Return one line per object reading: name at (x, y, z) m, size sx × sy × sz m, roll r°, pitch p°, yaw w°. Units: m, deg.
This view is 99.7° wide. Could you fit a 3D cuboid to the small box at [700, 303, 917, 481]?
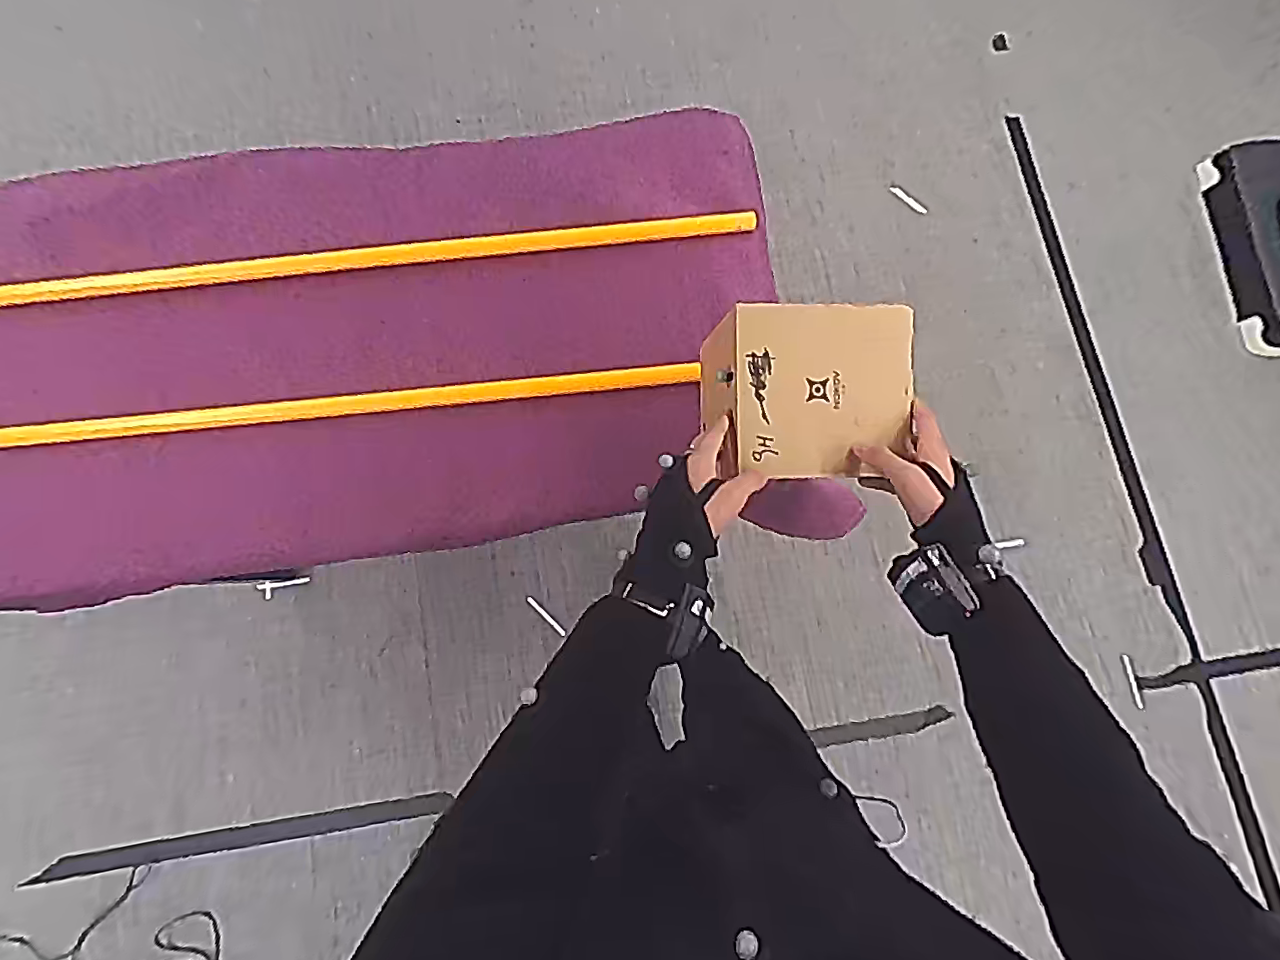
small box at (0.169, -0.083, 0.587) m, size 0.179 × 0.176 × 0.168 m, roll 0°, pitch 91°, yaw -5°
